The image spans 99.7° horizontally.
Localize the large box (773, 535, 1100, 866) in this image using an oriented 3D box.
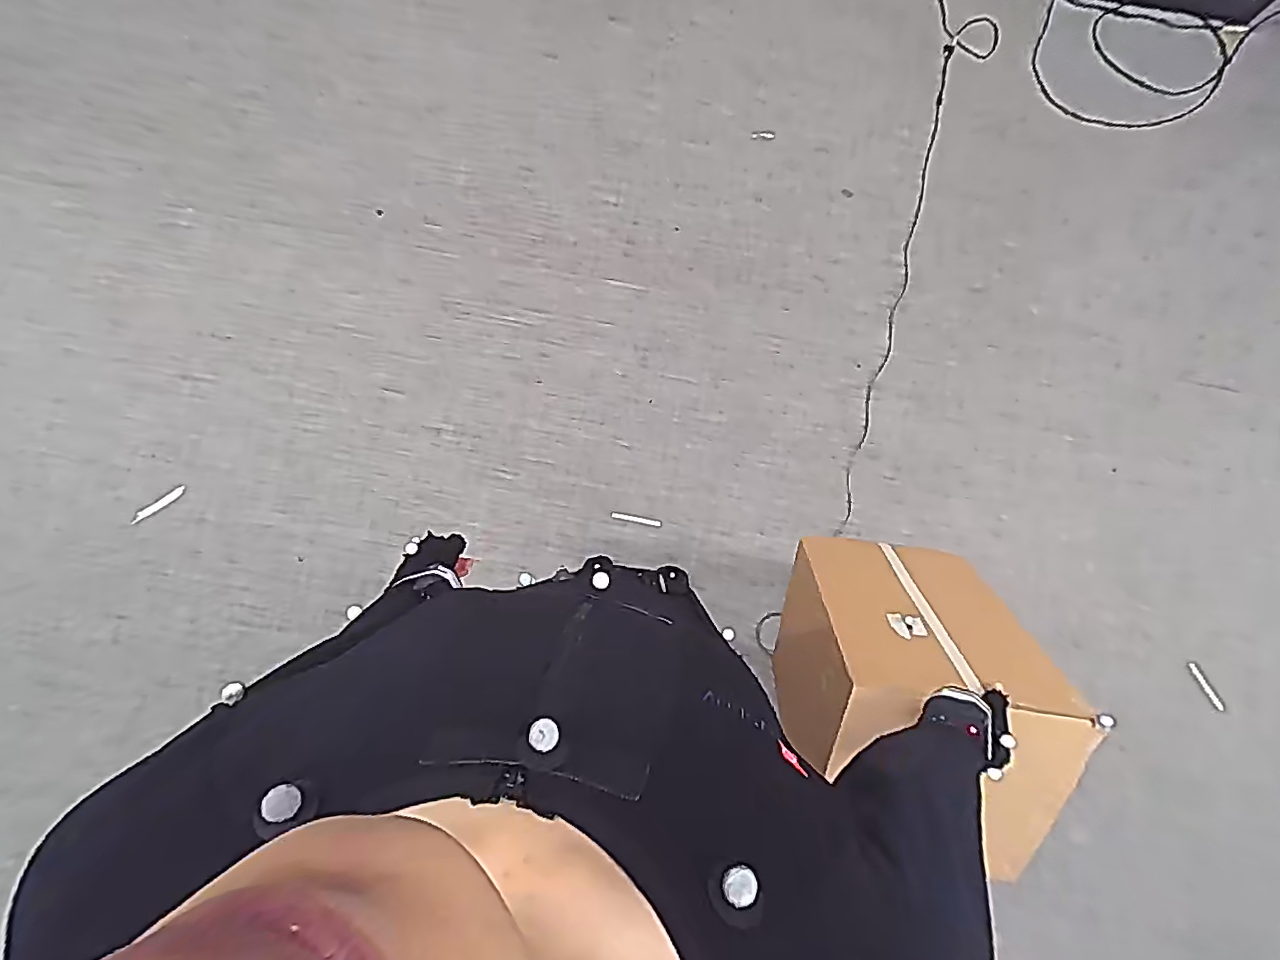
[{"bbox_3d":[0.434,0.342,0.929,0.320,0.408,0.320,7,114,3],"label":"large box"}]
